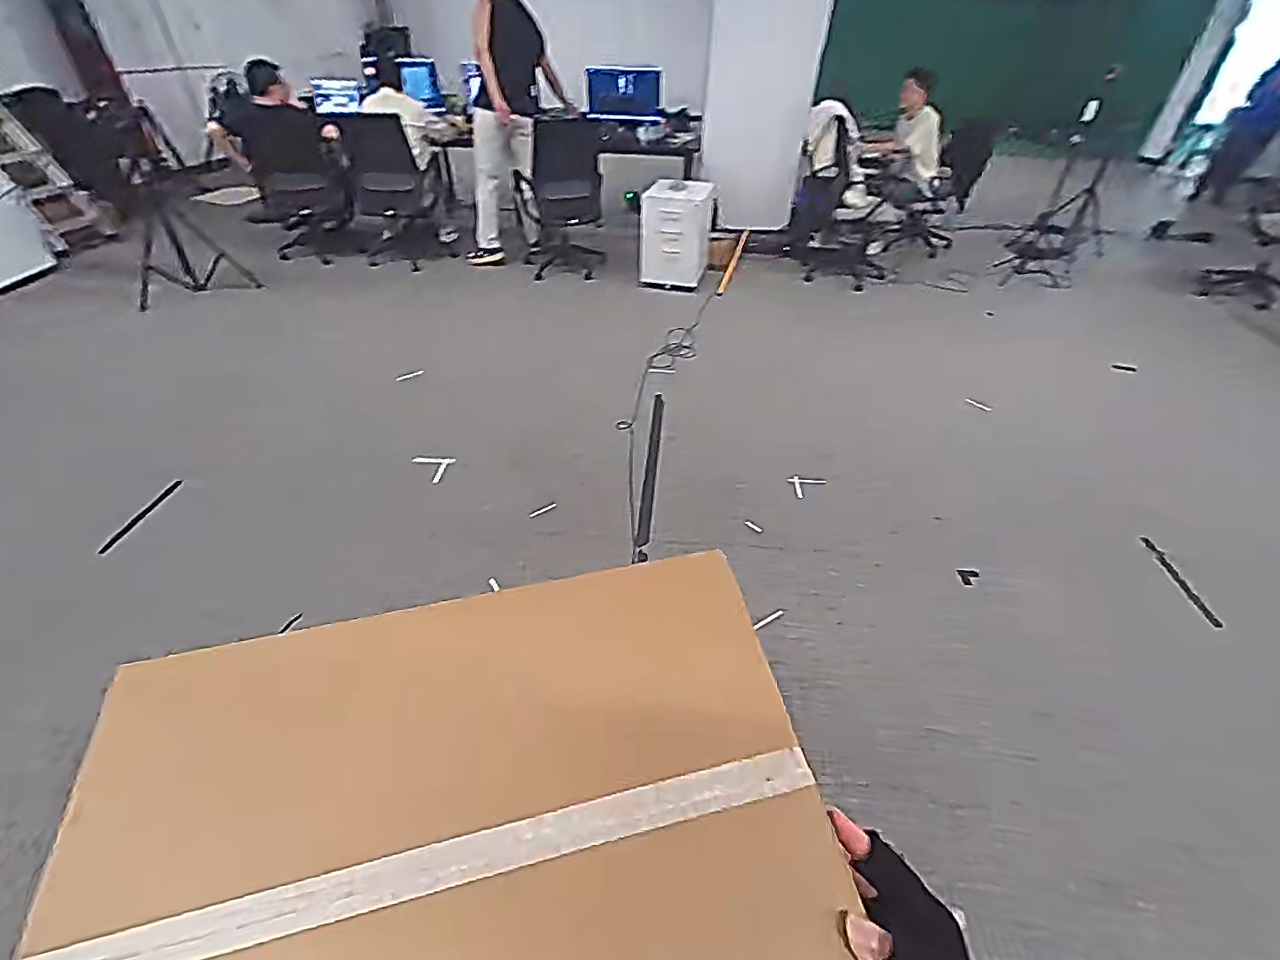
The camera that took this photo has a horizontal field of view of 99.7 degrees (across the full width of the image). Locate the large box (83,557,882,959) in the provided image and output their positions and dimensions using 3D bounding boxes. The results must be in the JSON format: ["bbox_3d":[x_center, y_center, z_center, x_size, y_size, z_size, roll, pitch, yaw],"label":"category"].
[{"bbox_3d":[-0.094,0.302,0.420,0.408,0.320,0.320,-9,53,-9],"label":"large box"}]
